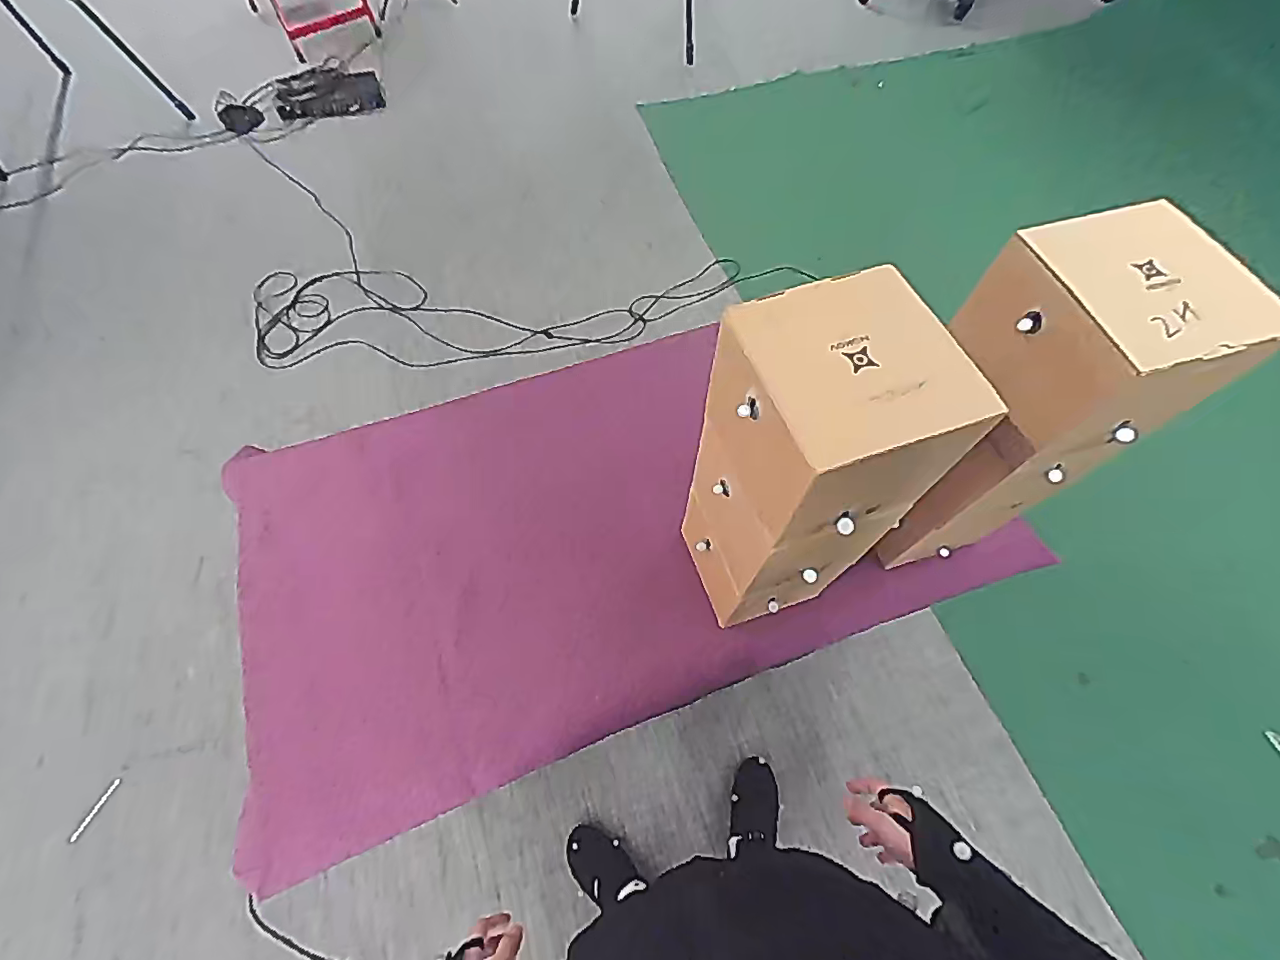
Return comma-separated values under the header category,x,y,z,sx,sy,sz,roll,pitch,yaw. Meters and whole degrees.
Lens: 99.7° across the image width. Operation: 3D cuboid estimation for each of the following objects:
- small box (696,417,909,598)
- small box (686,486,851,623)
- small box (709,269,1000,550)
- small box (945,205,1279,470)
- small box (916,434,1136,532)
category,x,y,z,sx,sy,sz,roll,pitch,yaw
small box,0.175,0.019,0.652,0.168,0.176,0.179,-16,63,-8
small box,0.174,0.098,0.796,0.168,0.176,0.179,-17,63,-8
small box,0.173,-0.059,0.509,0.168,0.176,0.179,-17,63,-8
small box,0.444,-0.136,0.544,0.168,0.176,0.179,-14,64,-6
small box,0.444,-0.058,0.690,0.168,0.176,0.179,-15,63,-7
